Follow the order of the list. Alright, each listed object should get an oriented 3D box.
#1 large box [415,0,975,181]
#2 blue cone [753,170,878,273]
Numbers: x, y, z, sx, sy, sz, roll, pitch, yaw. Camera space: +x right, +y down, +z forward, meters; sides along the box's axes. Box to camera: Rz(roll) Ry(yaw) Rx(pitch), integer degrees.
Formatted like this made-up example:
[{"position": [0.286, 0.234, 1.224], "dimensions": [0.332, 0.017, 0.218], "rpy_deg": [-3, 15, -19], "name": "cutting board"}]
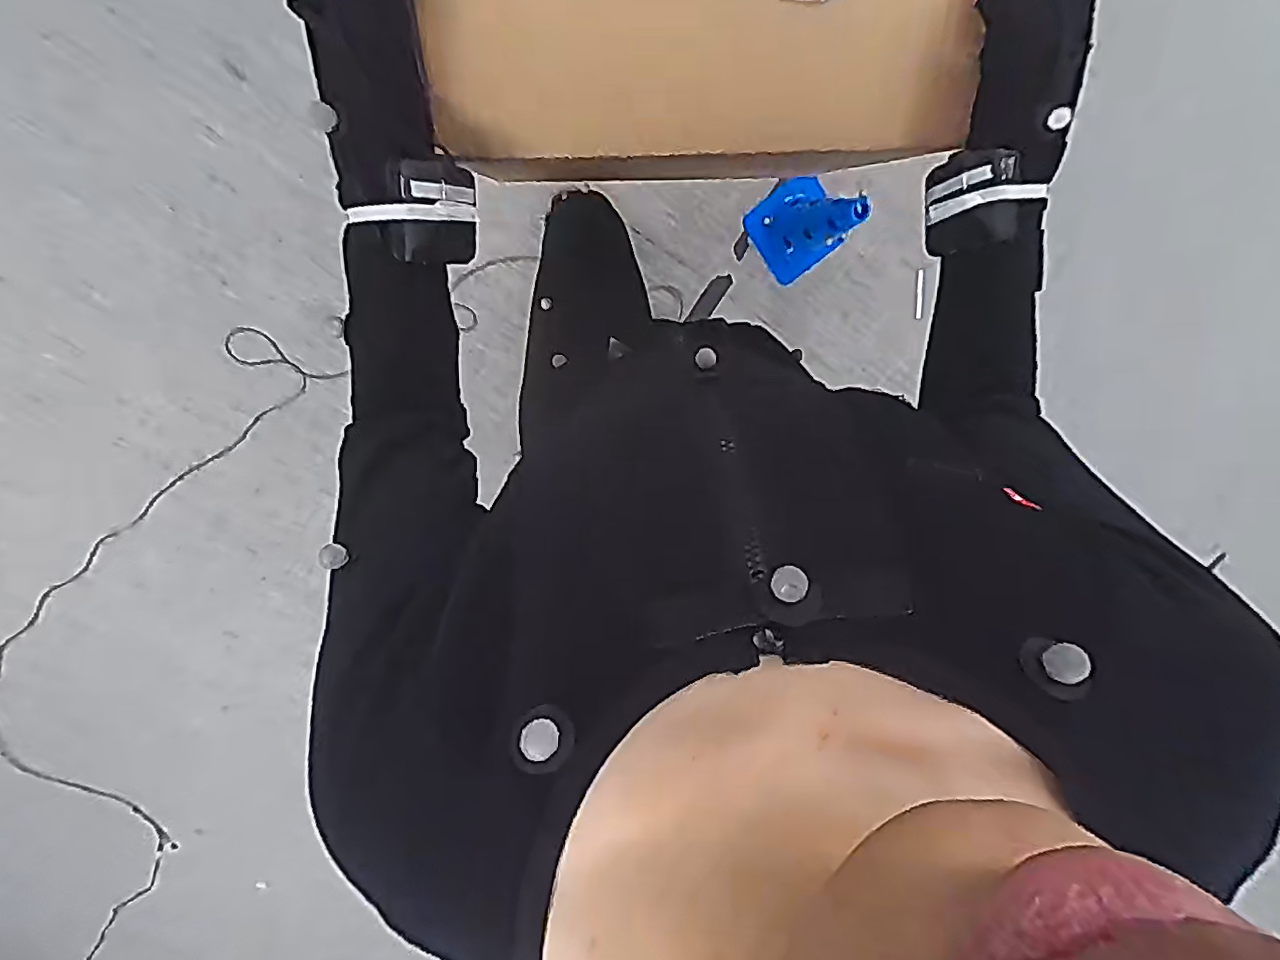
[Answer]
[{"position": [0.026, -0.460, 0.479], "dimensions": [0.408, 0.320, 0.320], "rpy_deg": [-4, 116, -5], "name": "large box"}, {"position": [0.400, -0.574, 1.171], "dimensions": [0.192, 0.380, 0.193], "rpy_deg": [-35, 108, 8], "name": "blue cone"}]
